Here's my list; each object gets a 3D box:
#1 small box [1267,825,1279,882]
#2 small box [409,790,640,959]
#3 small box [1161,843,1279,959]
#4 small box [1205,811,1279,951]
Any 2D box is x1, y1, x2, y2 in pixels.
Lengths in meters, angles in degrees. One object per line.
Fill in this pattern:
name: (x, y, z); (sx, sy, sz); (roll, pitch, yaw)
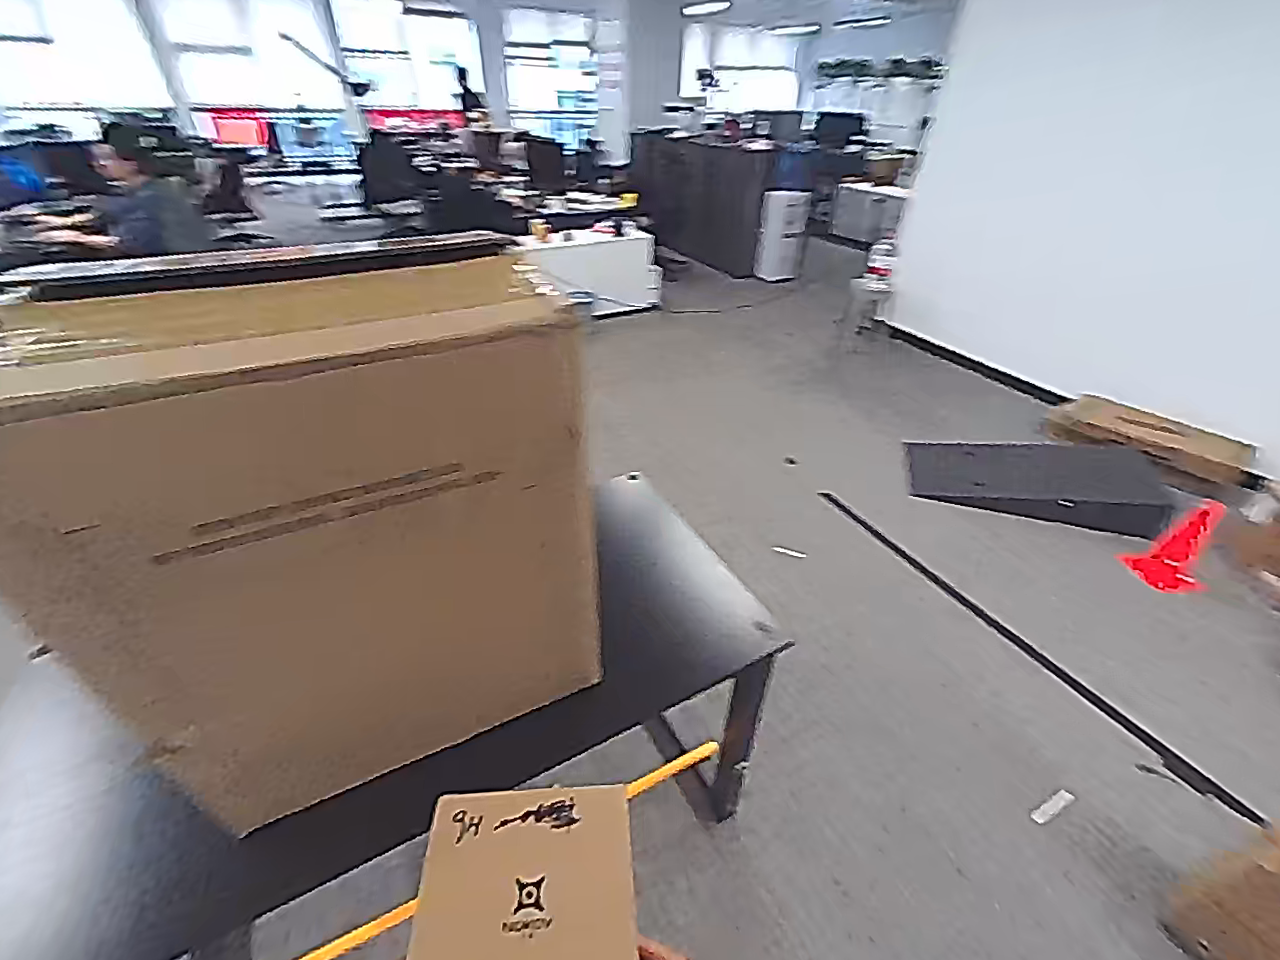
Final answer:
small box: (1.320, 0.699, 0.987); (0.179, 0.176, 0.168); (-23, 42, -29)
small box: (-0.088, 0.390, 0.450); (0.168, 0.176, 0.179); (0, 37, -7)
small box: (1.311, 0.958, 1.190); (0.179, 0.176, 0.168); (-23, 41, -27)
small box: (1.318, 0.827, 1.091); (0.168, 0.176, 0.179); (-20, 41, -26)
